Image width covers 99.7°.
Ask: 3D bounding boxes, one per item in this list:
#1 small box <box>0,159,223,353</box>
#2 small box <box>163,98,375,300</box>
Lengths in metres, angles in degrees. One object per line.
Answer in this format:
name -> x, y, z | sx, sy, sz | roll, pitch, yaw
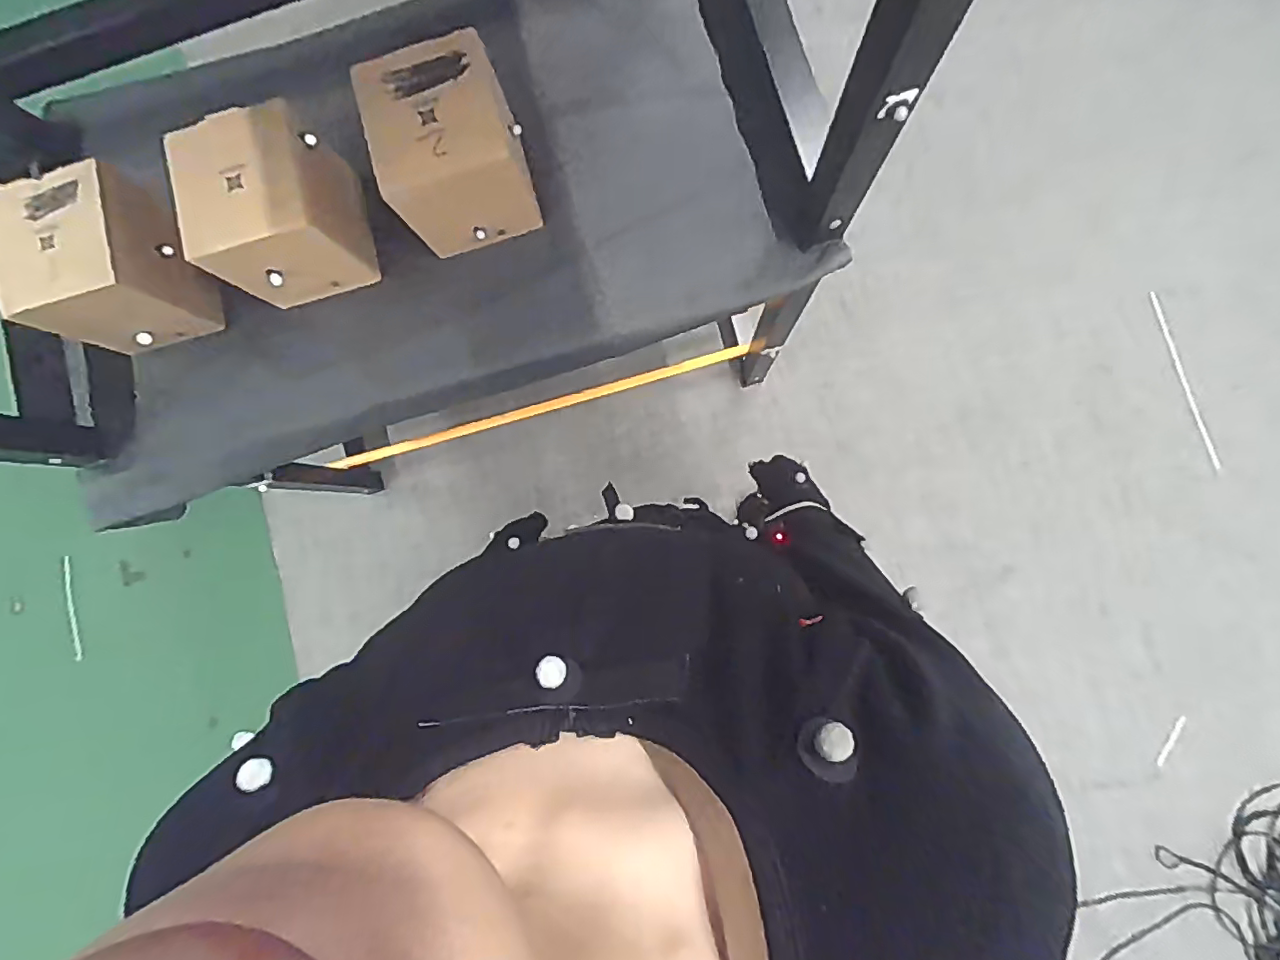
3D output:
small box -> -0.744, -0.304, 0.767 | 0.168, 0.176, 0.179 | -15, 86, 4
small box -> -0.500, -0.370, 0.754 | 0.168, 0.176, 0.179 | -15, 85, 3
